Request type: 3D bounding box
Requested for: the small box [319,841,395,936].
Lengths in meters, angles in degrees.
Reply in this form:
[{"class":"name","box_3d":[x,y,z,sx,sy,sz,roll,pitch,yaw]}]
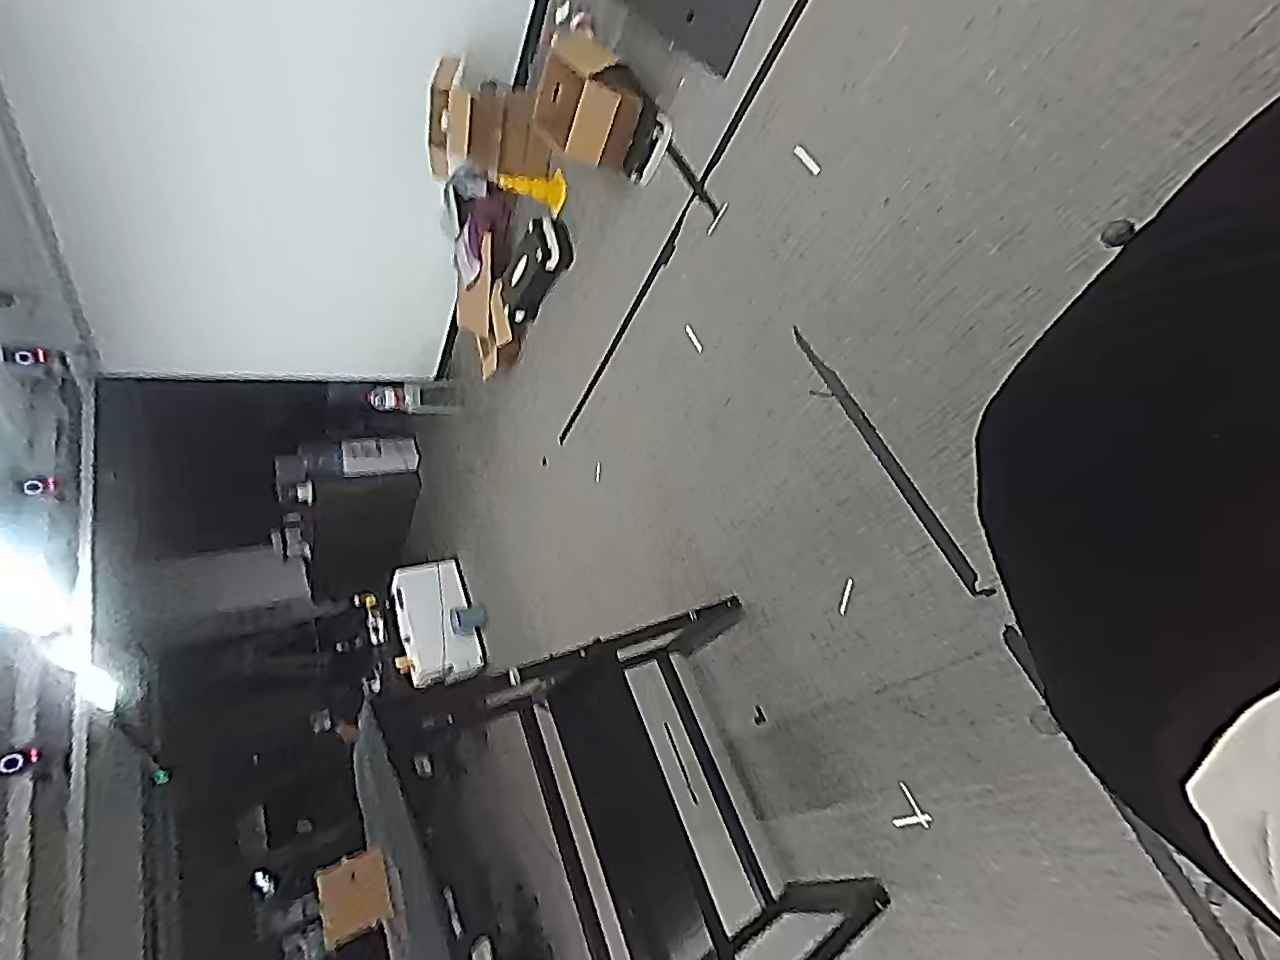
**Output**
[{"class":"small box","box_3d":[-0.836,1.188,1.590,0.168,0.176,0.179,-49,57,47]}]
